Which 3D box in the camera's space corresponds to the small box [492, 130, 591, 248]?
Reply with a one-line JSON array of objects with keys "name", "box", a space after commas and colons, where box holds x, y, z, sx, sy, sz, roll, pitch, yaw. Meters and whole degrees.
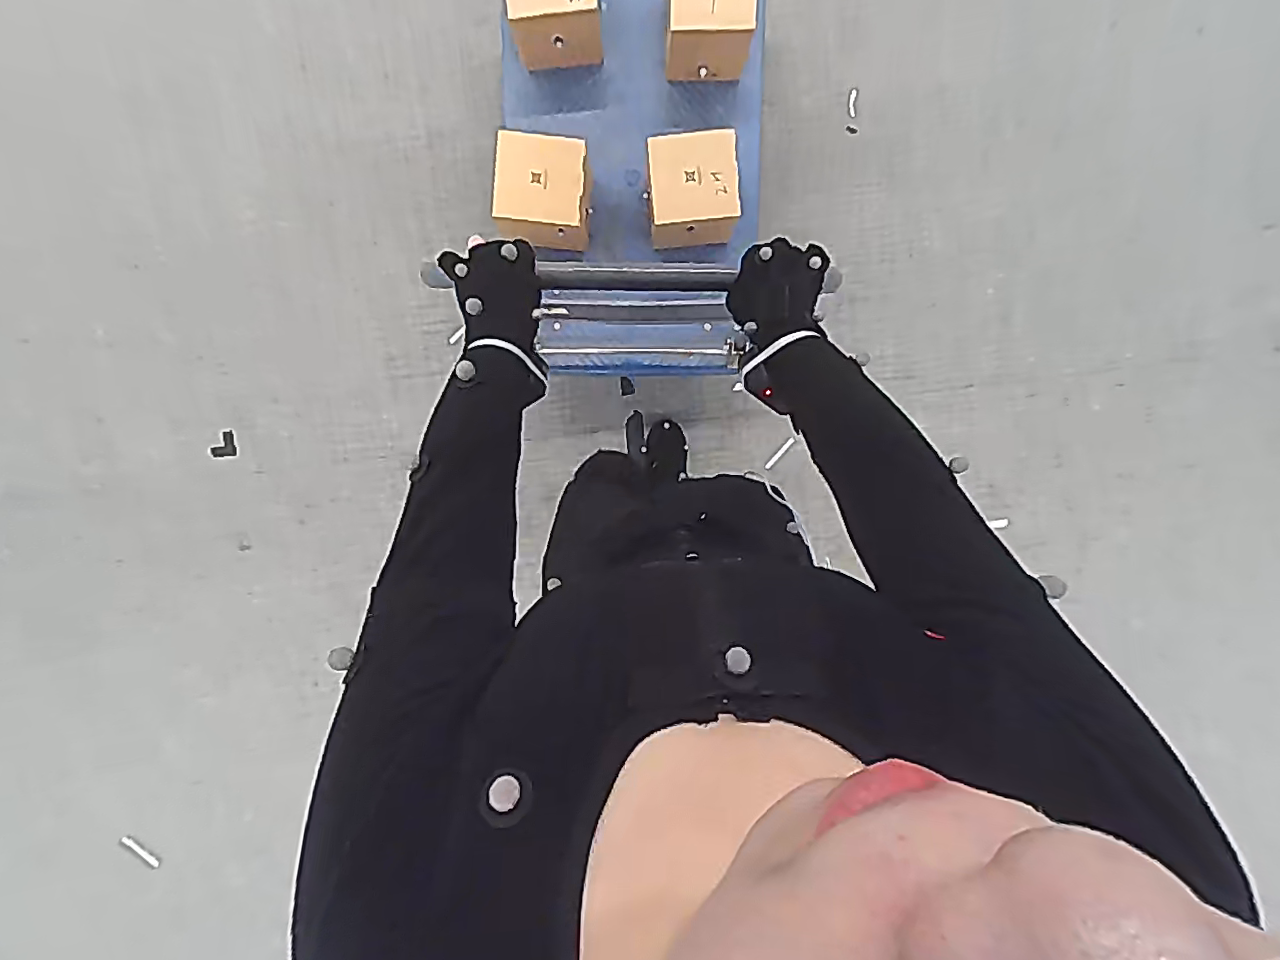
[{"name": "small box", "box": [-0.203, -0.609, 1.152, 0.179, 0.176, 0.168, 5, 96, -2]}]

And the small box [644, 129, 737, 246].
[{"name": "small box", "box": [0.104, -0.611, 1.151, 0.179, 0.176, 0.168, -5, 97, 1]}]

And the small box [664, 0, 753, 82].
[{"name": "small box", "box": [0.135, -0.961, 1.108, 0.168, 0.176, 0.179, 0, 98, 0]}]
